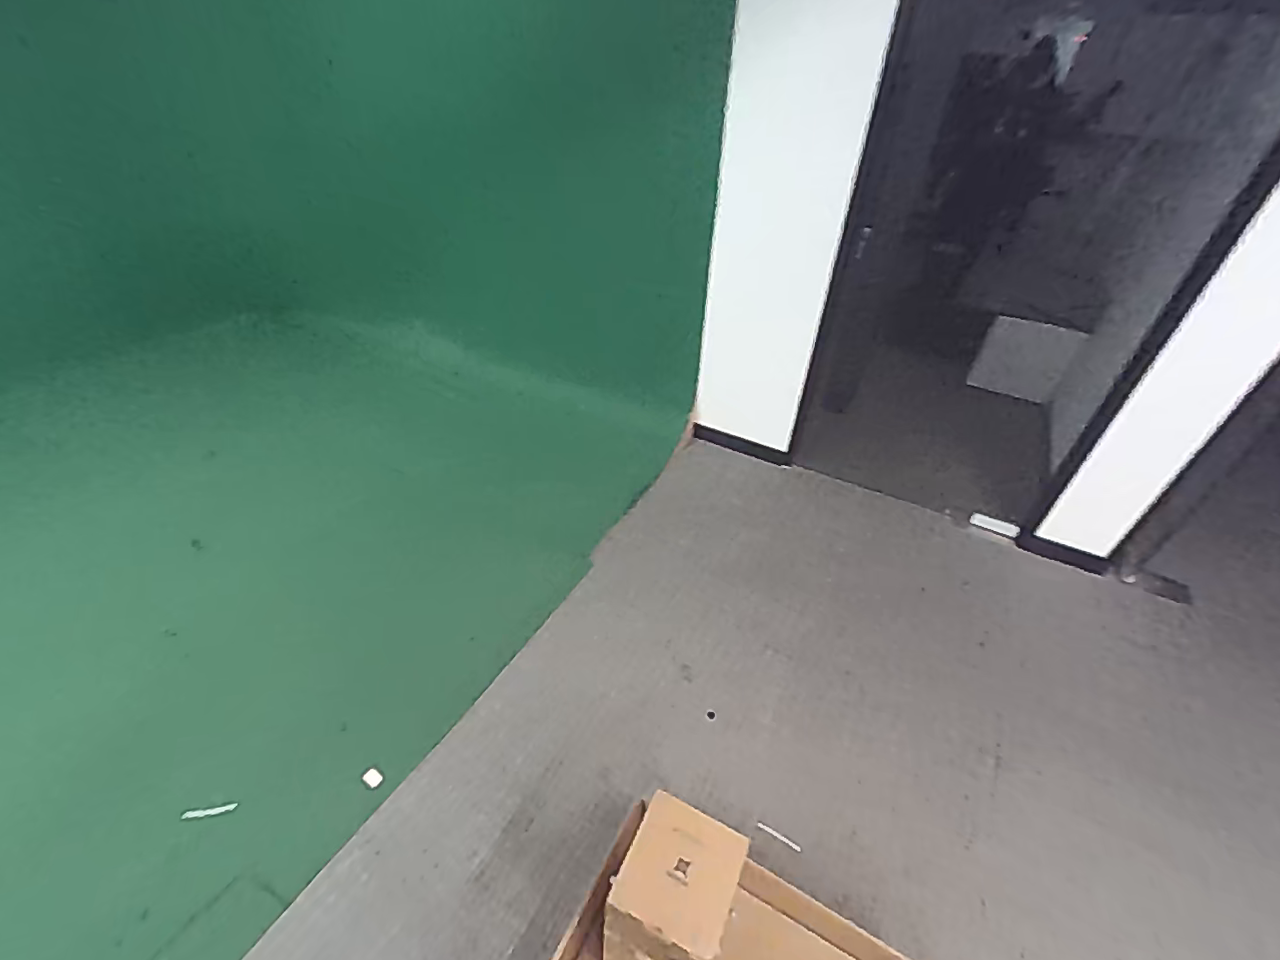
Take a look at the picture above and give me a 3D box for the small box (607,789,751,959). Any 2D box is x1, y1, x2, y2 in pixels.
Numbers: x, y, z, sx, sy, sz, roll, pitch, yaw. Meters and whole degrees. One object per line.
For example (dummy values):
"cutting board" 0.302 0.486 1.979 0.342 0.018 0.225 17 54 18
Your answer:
"small box" 0.060 0.647 0.861 0.168 0.176 0.179 21 43 19

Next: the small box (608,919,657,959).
"small box" 0.051 0.777 0.960 0.168 0.176 0.179 22 43 21
